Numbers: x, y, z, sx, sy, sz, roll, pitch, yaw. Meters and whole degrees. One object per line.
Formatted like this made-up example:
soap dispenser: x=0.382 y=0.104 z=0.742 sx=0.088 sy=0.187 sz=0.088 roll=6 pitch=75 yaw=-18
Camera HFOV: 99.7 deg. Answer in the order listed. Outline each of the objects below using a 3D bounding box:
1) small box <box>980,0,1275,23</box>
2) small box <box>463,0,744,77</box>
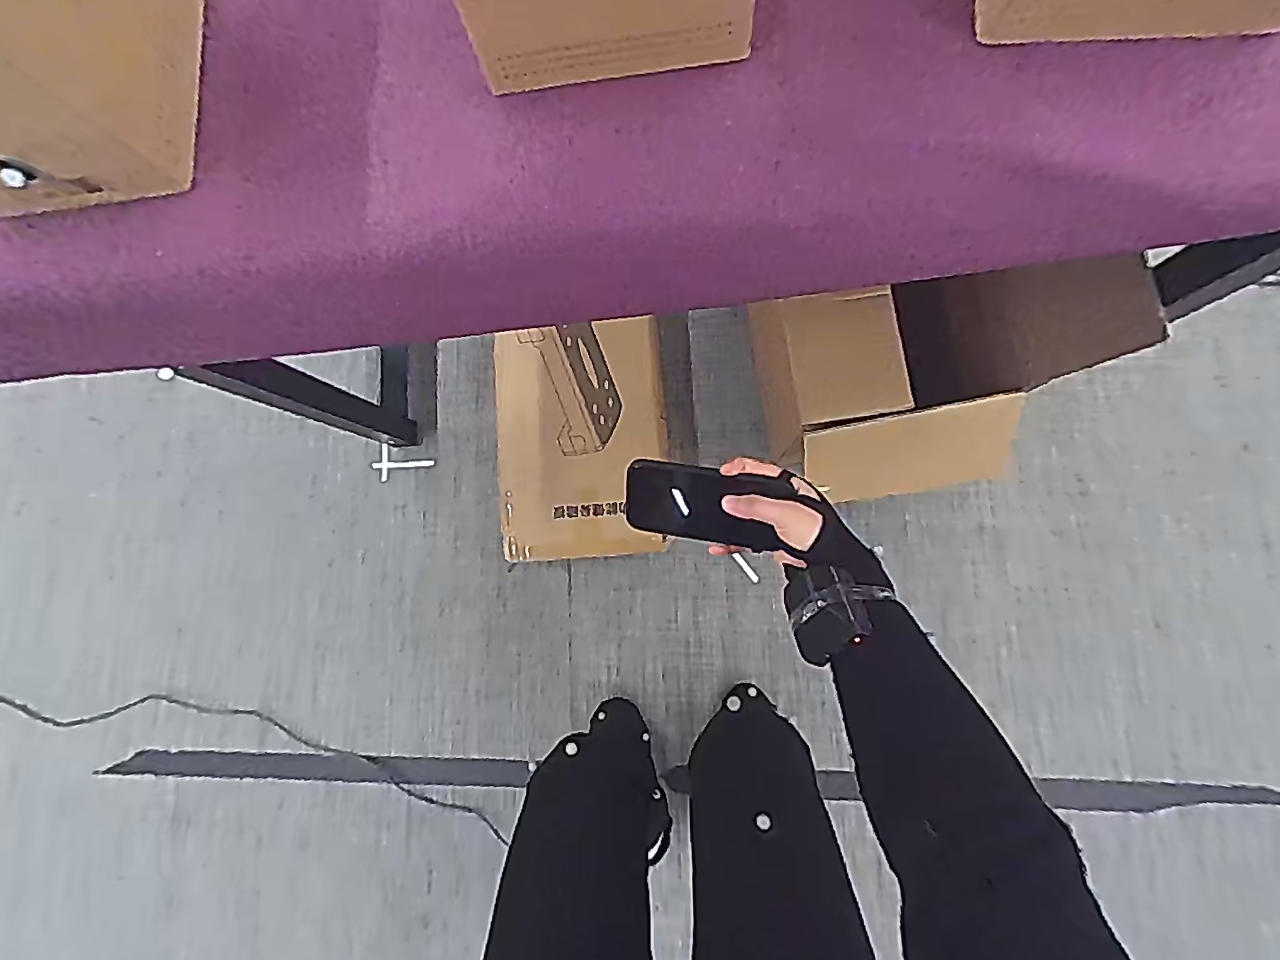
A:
small box: x=0.291 y=-0.368 z=0.261 sx=0.179 sy=0.176 sz=0.168 roll=2 pitch=83 yaw=6
small box: x=-0.025 y=-0.367 z=0.292 sx=0.179 sy=0.176 sz=0.168 roll=-5 pitch=80 yaw=5
